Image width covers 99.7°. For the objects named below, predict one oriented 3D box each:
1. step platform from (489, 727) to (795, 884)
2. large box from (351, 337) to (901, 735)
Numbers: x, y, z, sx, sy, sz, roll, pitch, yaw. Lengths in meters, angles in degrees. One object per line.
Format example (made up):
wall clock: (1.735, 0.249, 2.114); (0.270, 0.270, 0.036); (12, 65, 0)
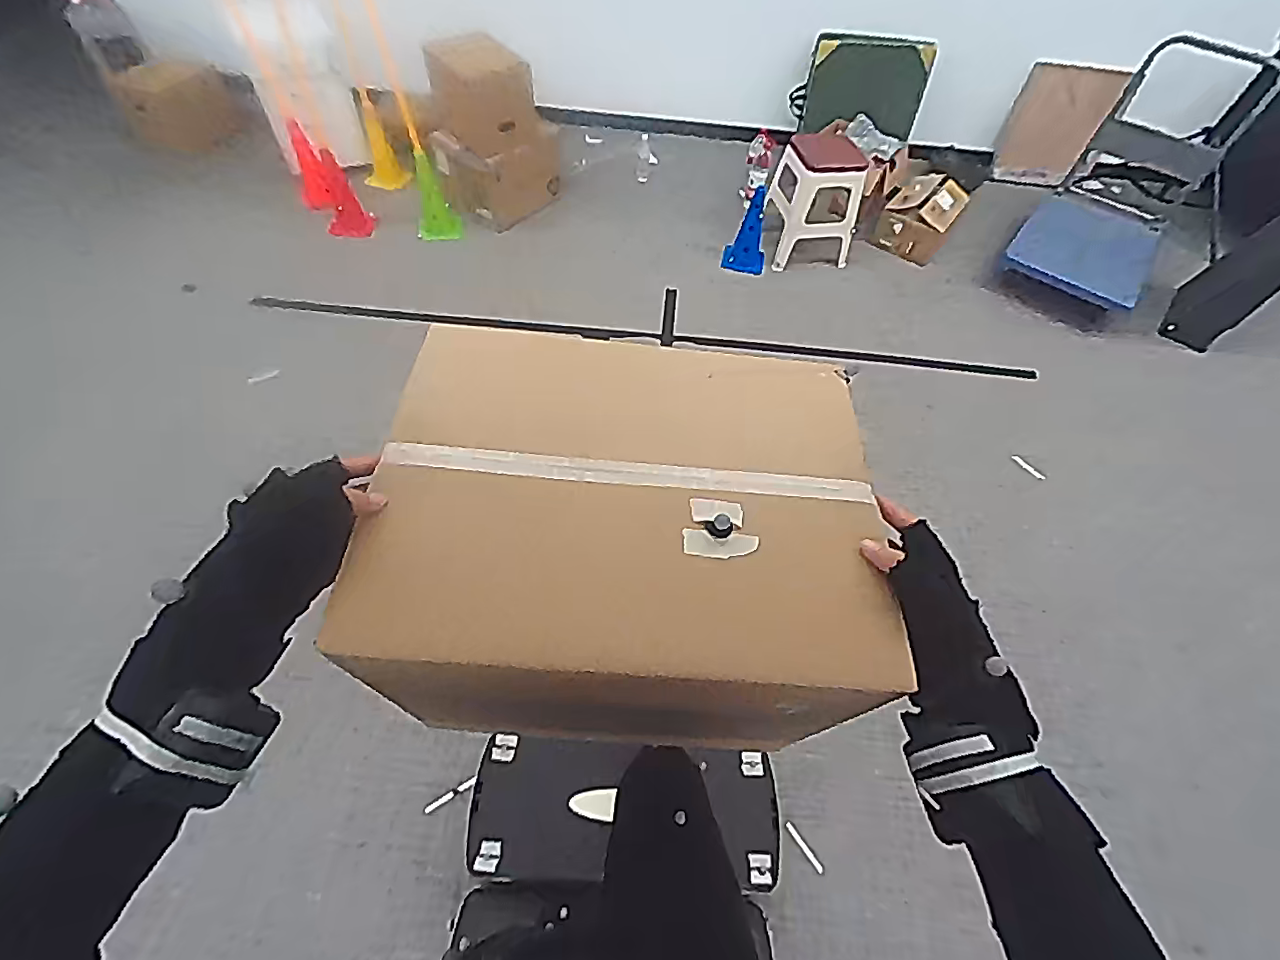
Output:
step platform: (0.004, 0.750, 1.255); (0.684, 0.204, 0.286); (4, 55, -3)
large box: (-0.016, 0.081, 0.586); (0.408, 0.320, 0.320); (5, 57, -4)
